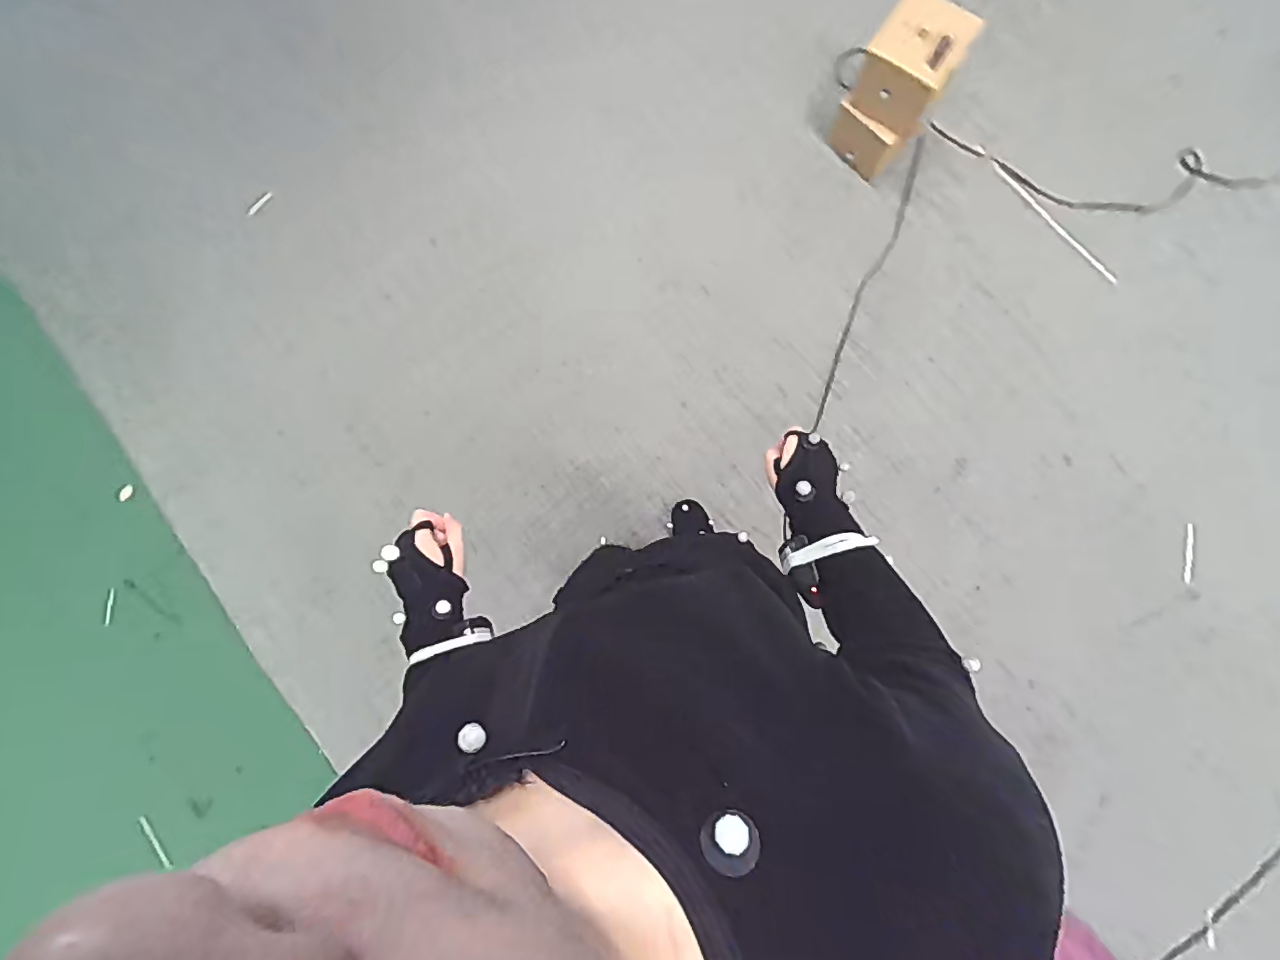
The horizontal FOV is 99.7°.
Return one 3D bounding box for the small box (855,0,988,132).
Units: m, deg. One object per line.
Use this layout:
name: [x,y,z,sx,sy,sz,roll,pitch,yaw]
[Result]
small box: [0.614,-0.923,1.203,0.179,0.176,0.168,38,94,10]
